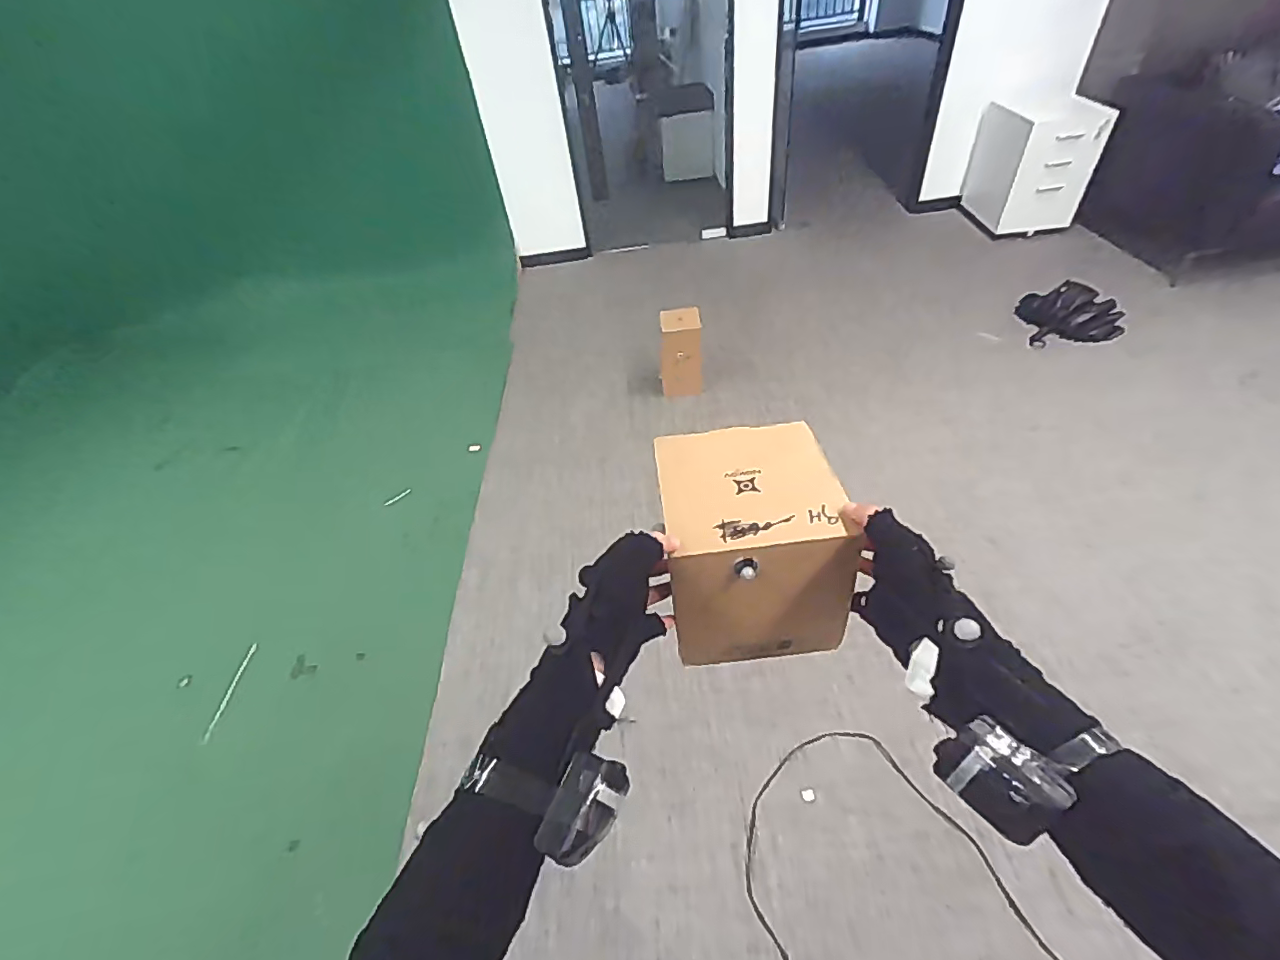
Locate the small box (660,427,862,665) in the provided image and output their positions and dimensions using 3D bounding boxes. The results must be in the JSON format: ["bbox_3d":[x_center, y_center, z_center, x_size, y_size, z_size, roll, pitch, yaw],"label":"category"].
[{"bbox_3d":[0.113,0.067,0.573,0.168,0.176,0.179,-8,37,2],"label":"small box"}]

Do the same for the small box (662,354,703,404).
[{"bbox_3d":[0.195,-0.467,2.463,0.179,0.176,0.168,-6,44,5],"label":"small box"}]

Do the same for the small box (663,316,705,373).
[{"bbox_3d":[0.190,-0.589,2.357,0.168,0.176,0.179,-7,44,5],"label":"small box"}]
